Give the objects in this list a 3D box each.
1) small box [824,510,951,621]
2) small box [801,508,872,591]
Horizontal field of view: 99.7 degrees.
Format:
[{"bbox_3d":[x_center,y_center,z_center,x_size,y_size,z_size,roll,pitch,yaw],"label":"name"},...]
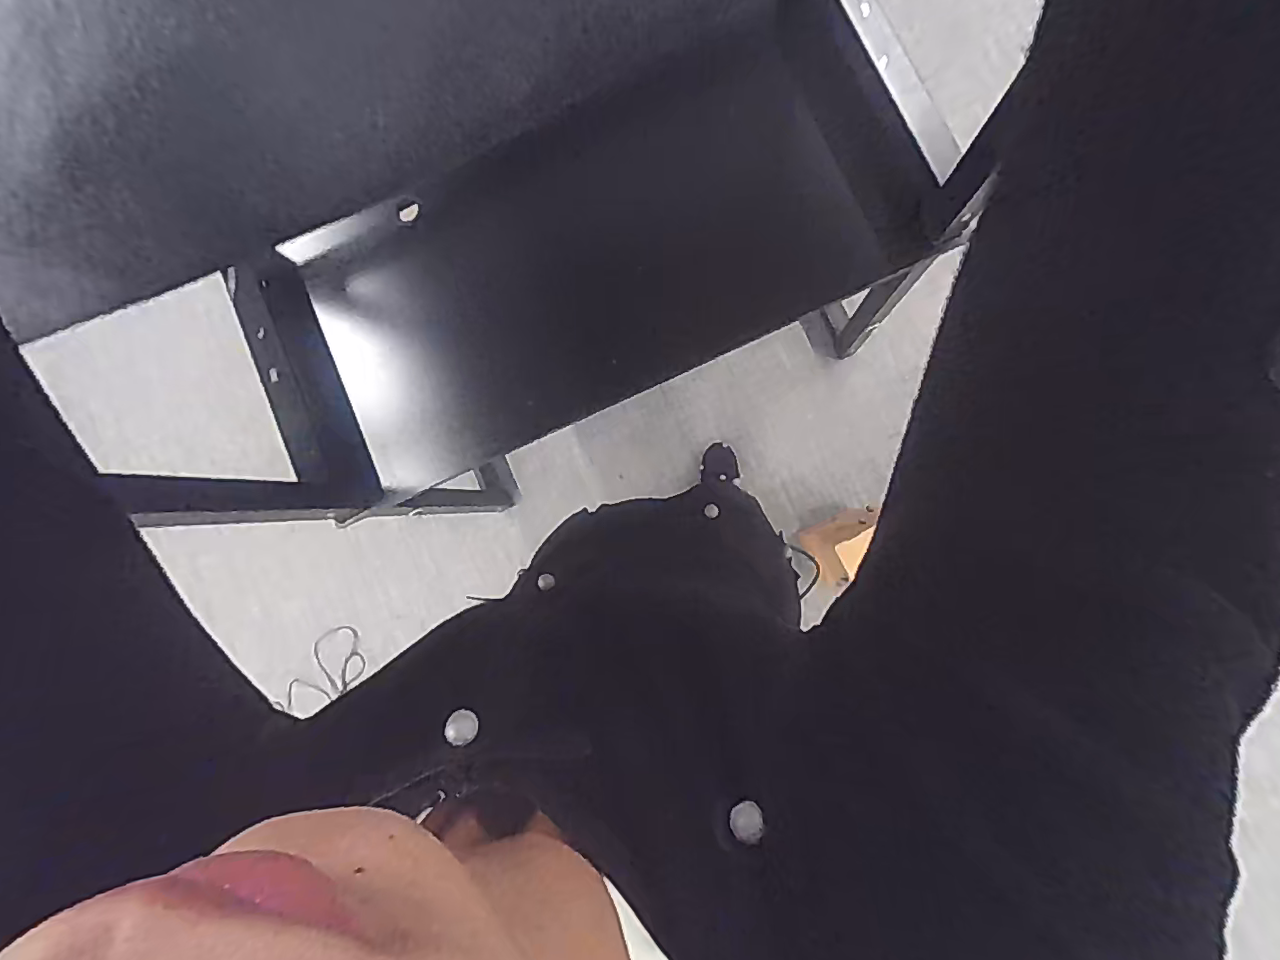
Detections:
[{"bbox_3d":[0.517,0.173,1.156,0.168,0.176,0.179,-27,84,7],"label":"small box"},{"bbox_3d":[0.562,0.182,1.480,0.179,0.176,0.168,-26,84,8],"label":"small box"}]
